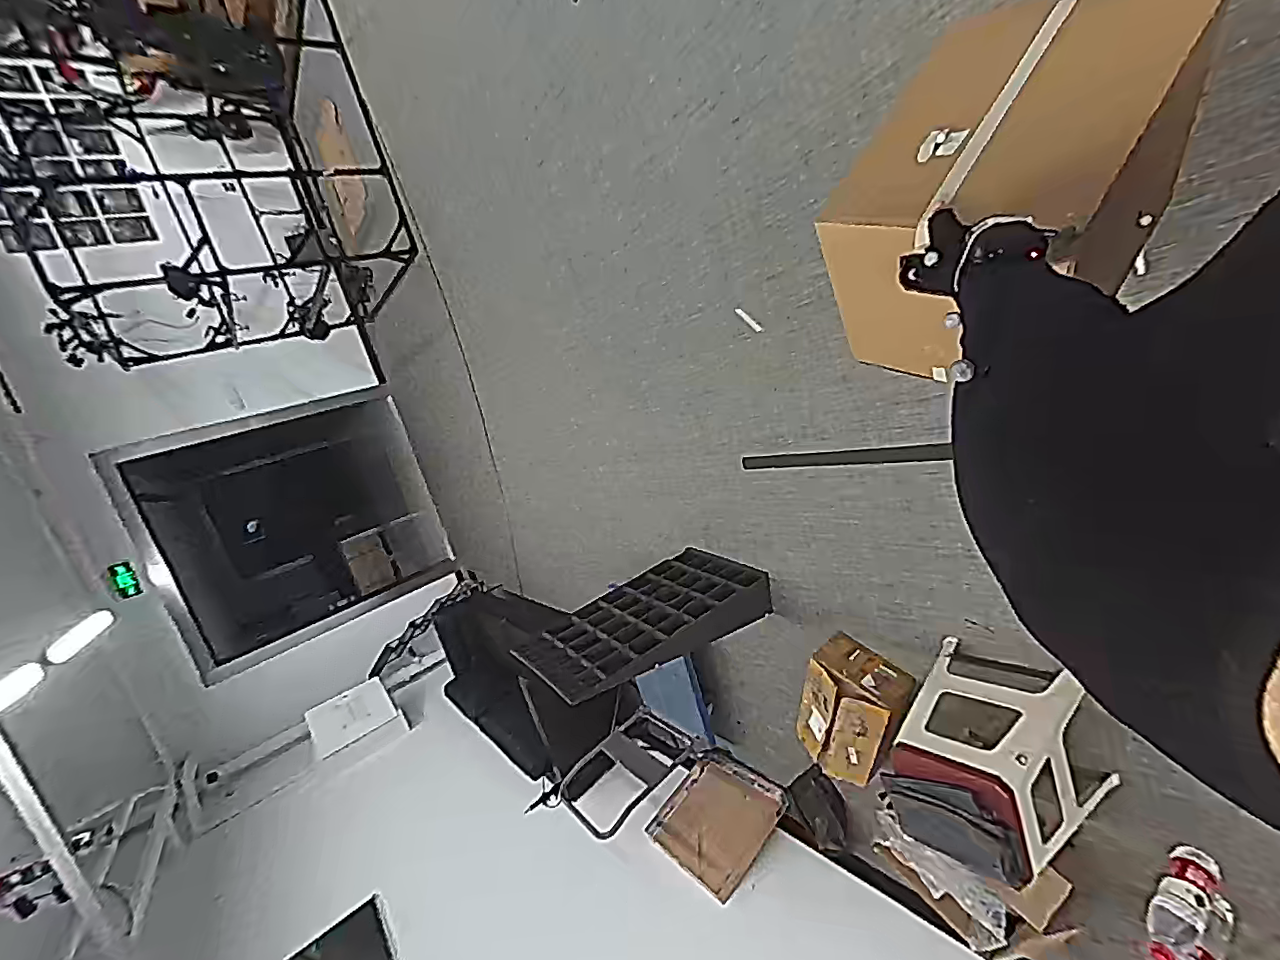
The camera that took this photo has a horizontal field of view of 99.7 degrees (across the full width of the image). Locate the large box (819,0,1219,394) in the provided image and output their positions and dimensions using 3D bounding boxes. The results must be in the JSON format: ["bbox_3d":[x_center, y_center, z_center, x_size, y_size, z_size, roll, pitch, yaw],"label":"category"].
[{"bbox_3d":[0.536,-0.405,0.805,0.320,0.408,0.320,29,171,42],"label":"large box"}]
